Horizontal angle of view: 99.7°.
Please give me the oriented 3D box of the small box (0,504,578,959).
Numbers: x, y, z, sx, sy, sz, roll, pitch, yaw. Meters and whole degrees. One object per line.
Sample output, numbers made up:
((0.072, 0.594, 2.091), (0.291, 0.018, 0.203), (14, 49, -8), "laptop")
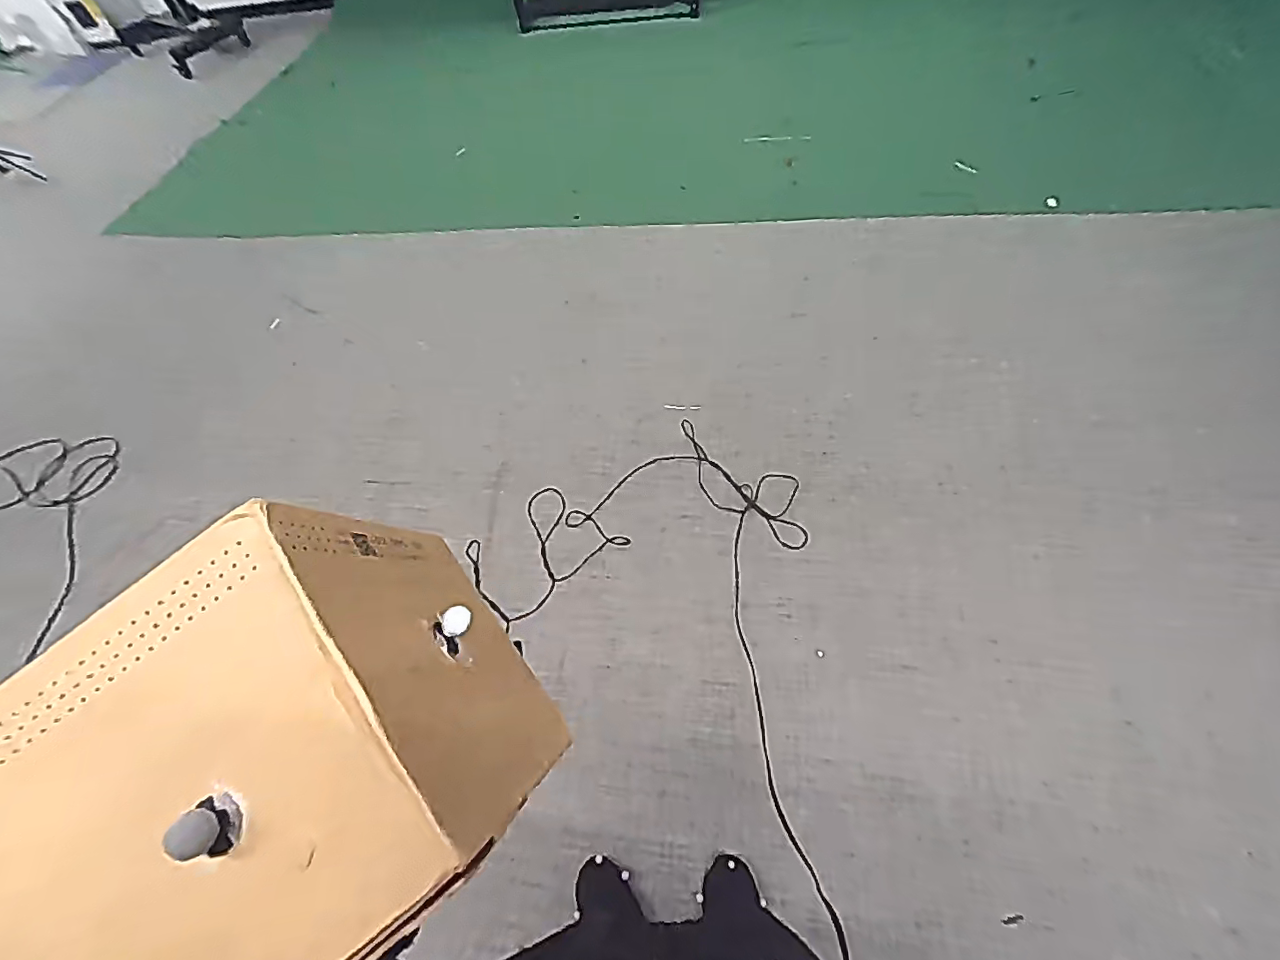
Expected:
((-0.164, 0.133, 0.289), (0.179, 0.168, 0.176), (-38, 78, -1), "small box")
